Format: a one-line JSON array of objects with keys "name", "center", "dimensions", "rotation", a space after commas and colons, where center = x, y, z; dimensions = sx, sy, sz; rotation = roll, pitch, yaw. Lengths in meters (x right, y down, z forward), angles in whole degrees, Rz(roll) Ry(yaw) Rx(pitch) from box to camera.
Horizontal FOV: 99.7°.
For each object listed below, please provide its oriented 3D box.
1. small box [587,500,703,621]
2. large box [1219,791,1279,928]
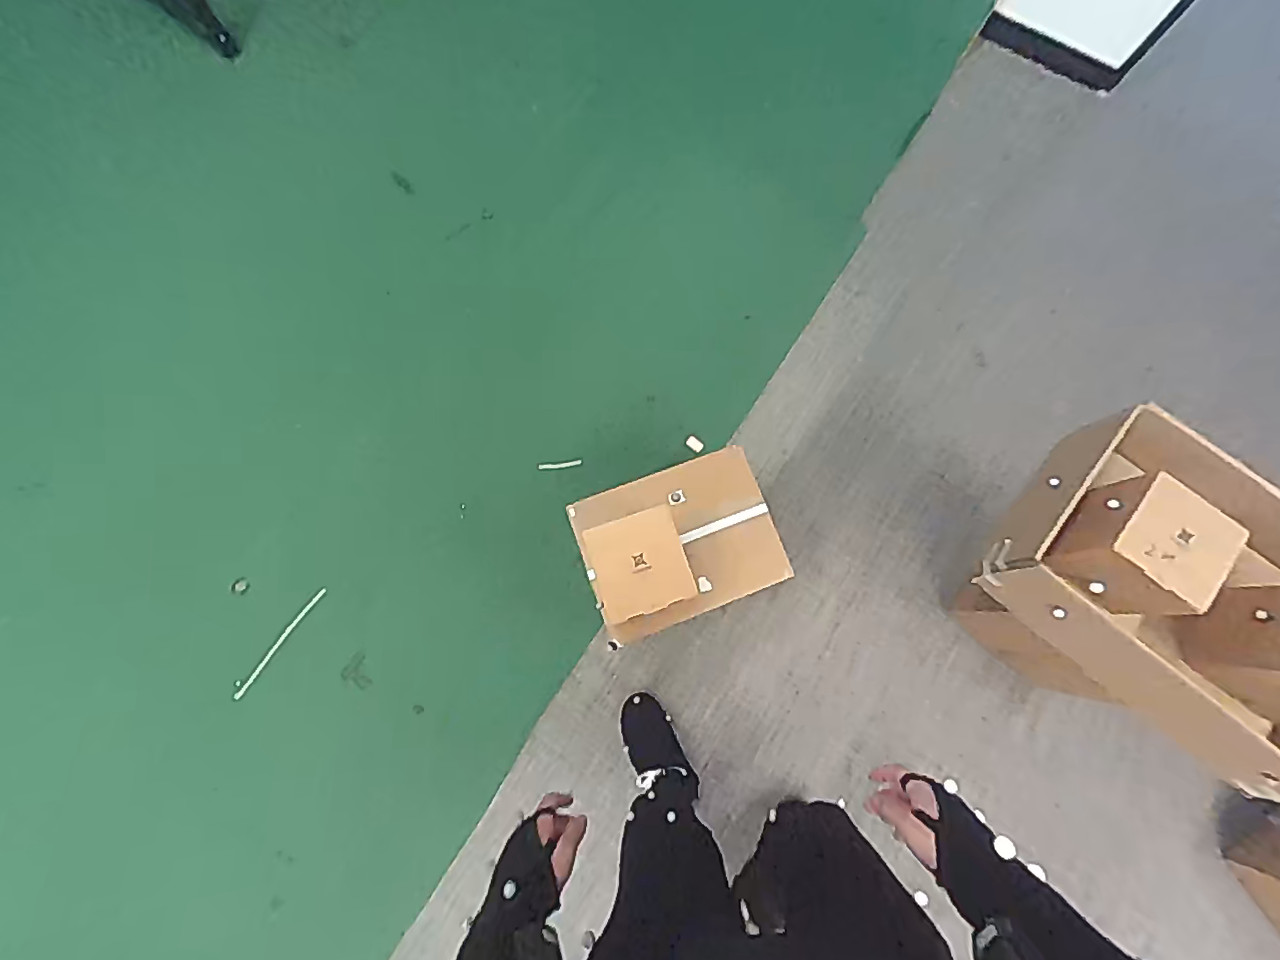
[{"name": "small box", "center": [0.003, 0.157, 1.027], "dimensions": [0.168, 0.176, 0.179], "rotation": [-18, 79, -7]}, {"name": "large box", "center": [1.626, 0.940, 1.143], "dimensions": [0.320, 0.320, 0.408], "rotation": [-32, 79, -9]}]
